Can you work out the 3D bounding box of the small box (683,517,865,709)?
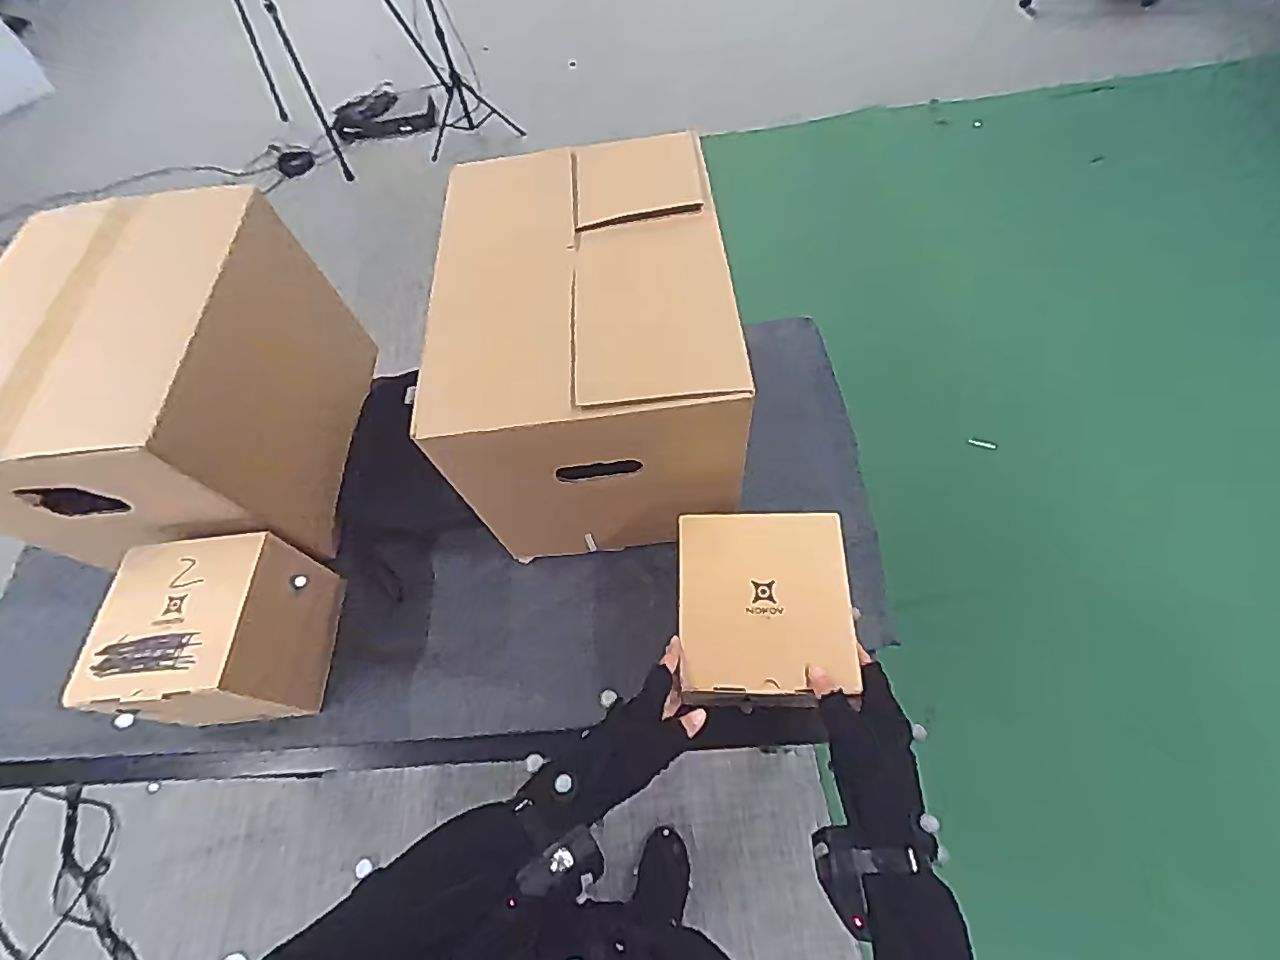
[{"bbox_3d":[0.131,0.152,0.599,0.168,0.176,0.179,-1,65,6],"label":"small box"}]
